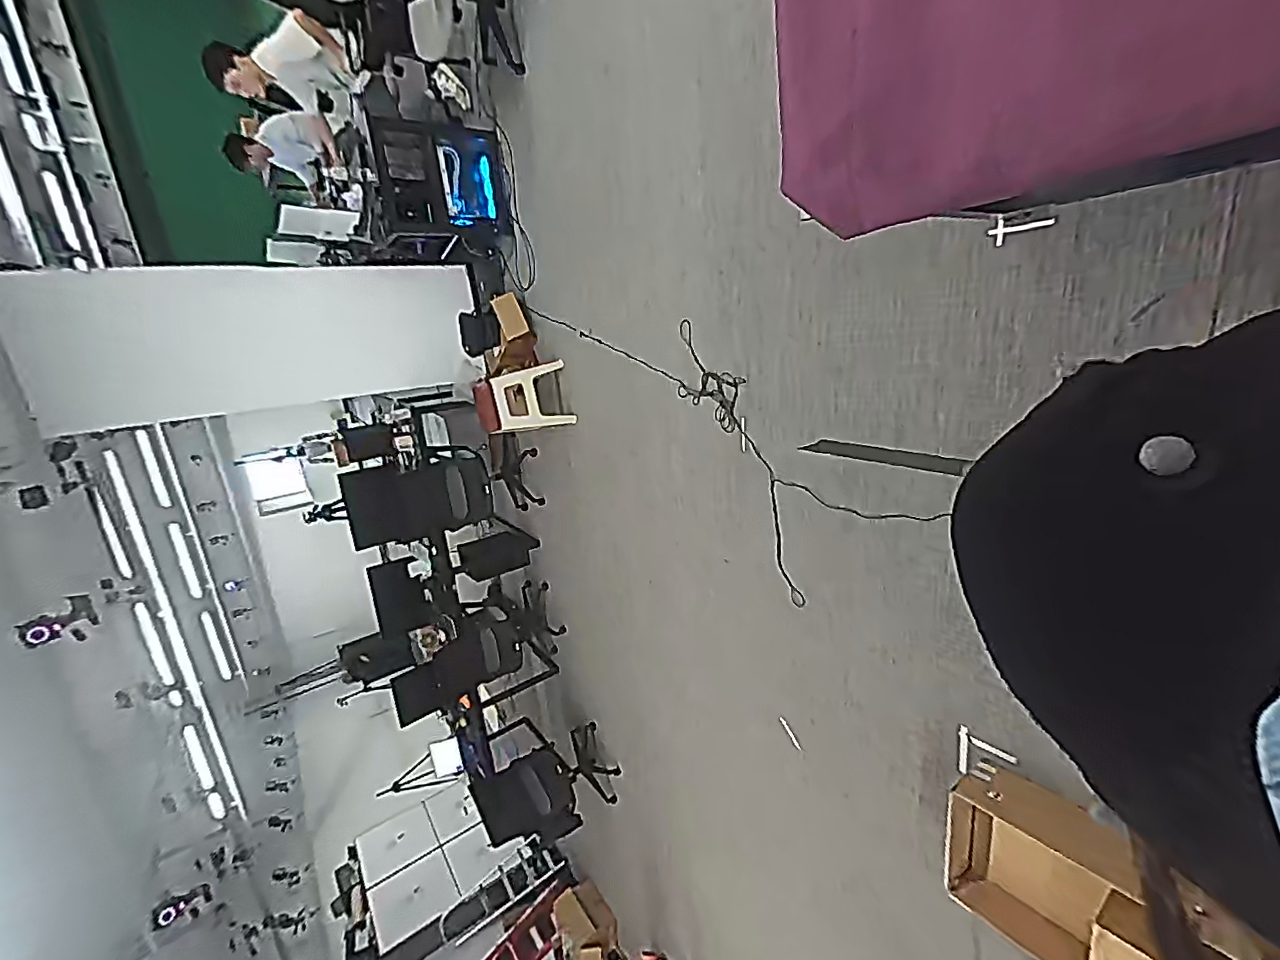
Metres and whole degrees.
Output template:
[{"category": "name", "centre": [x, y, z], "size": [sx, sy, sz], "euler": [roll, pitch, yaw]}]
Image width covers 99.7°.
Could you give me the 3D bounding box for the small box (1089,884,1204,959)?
[{"category": "small box", "centre": [1.210, 1.131, 1.294], "size": [0.168, 0.176, 0.179], "euler": [13, 115, 55]}]
